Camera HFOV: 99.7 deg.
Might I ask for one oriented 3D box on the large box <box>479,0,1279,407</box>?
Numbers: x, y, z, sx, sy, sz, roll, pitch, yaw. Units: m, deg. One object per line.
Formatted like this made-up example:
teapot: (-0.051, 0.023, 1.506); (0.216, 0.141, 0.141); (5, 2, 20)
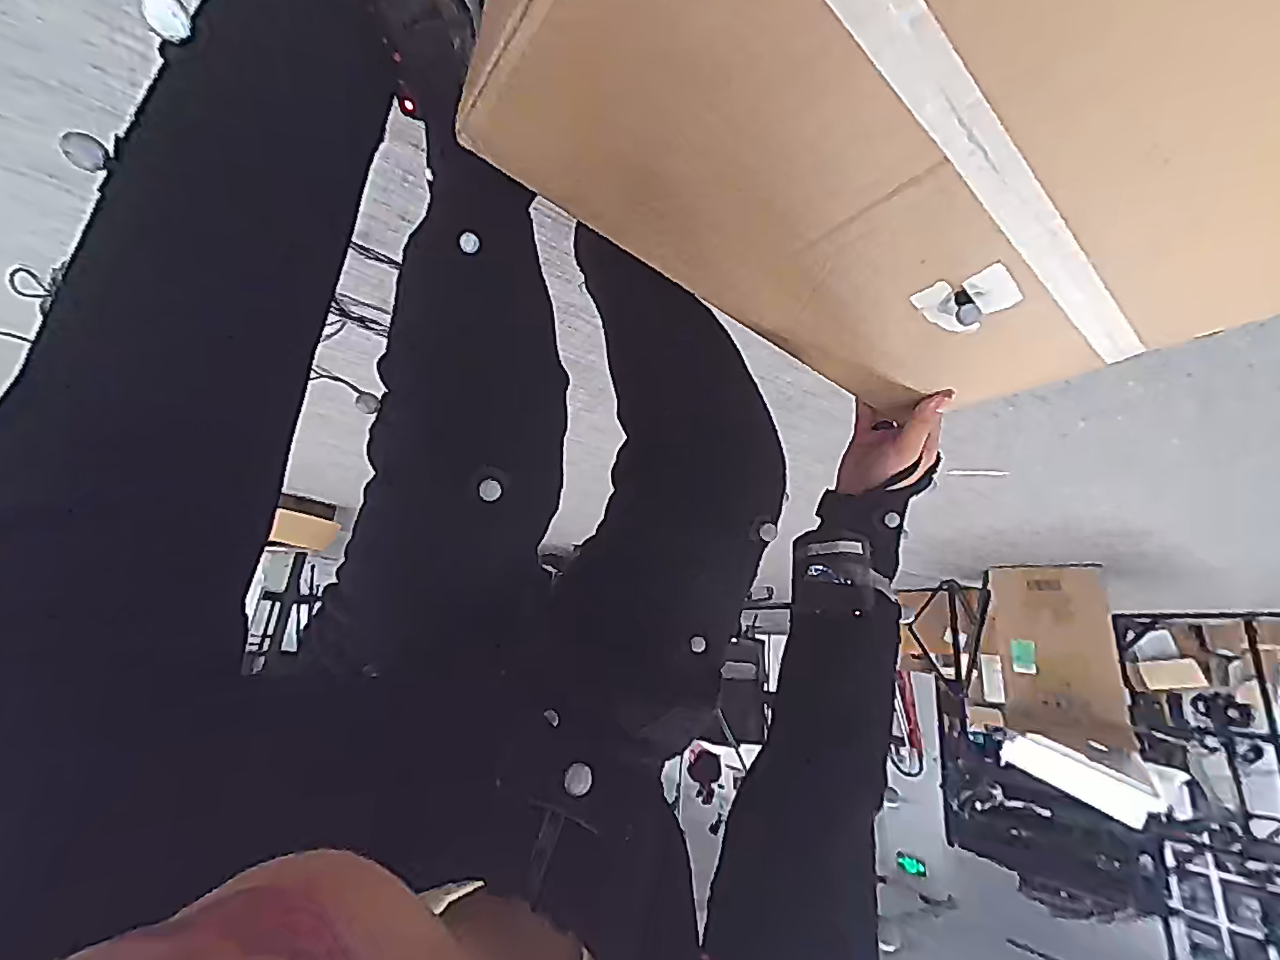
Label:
large box: (0.174, -0.286, 0.300); (0.408, 0.320, 0.320); (17, 157, -35)
